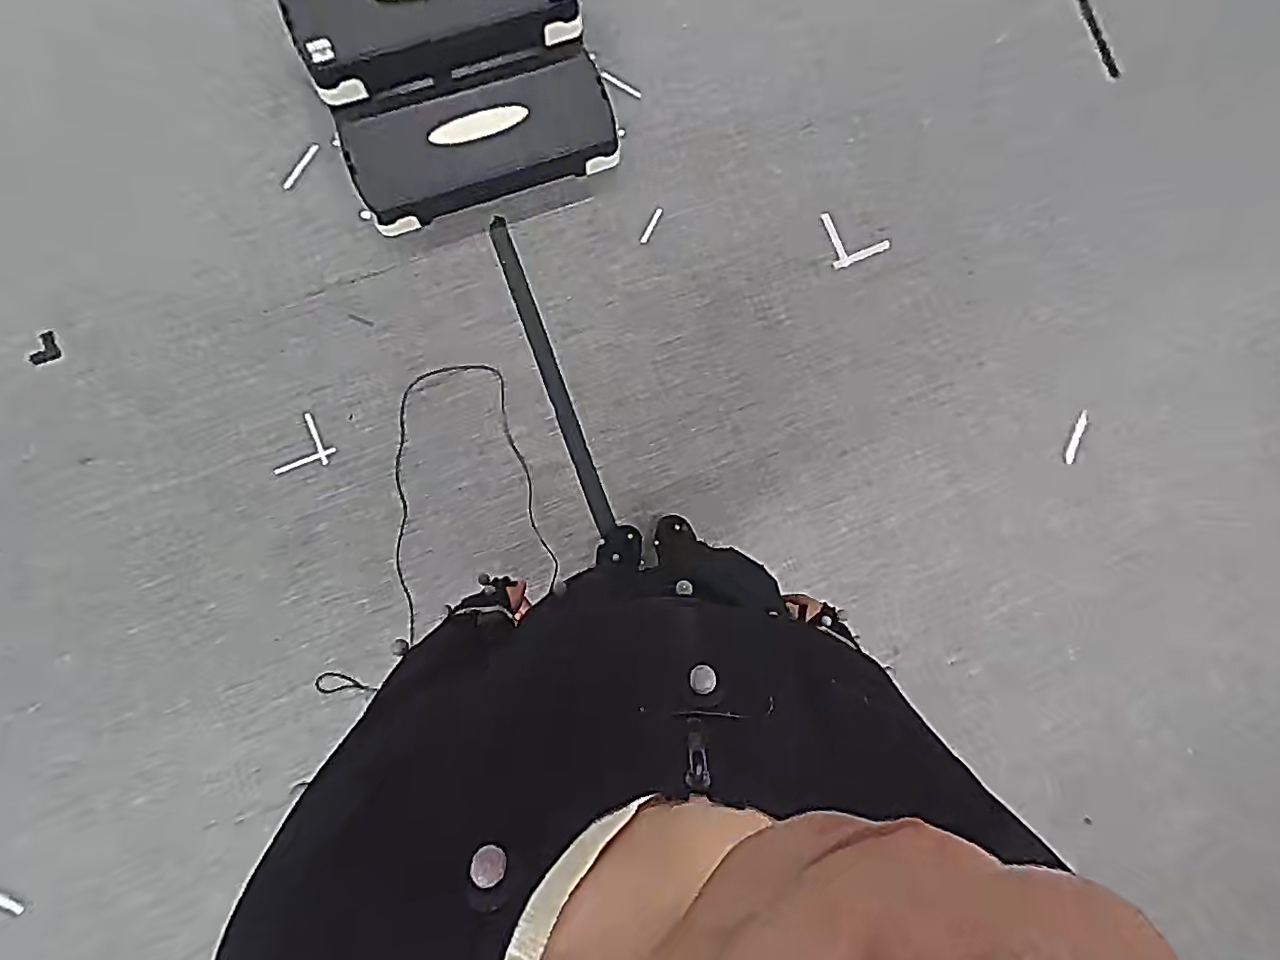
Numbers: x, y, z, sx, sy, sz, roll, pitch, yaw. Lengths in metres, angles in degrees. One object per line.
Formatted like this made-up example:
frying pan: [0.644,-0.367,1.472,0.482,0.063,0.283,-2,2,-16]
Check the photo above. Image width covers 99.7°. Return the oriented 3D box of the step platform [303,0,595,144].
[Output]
step platform: [-0.463,-1.107,1.369,0.684,0.204,0.286,-16,87,-6]
